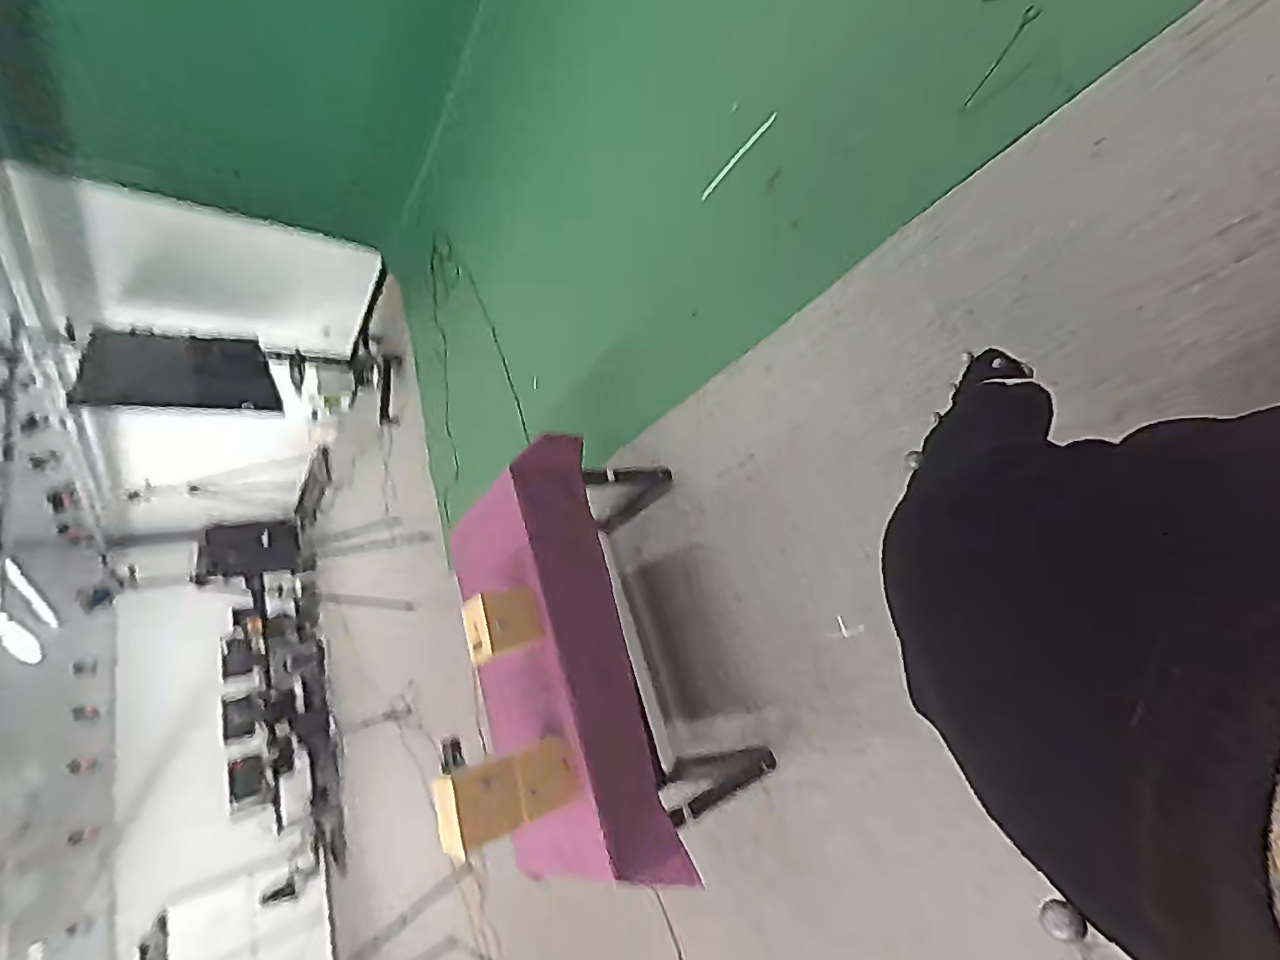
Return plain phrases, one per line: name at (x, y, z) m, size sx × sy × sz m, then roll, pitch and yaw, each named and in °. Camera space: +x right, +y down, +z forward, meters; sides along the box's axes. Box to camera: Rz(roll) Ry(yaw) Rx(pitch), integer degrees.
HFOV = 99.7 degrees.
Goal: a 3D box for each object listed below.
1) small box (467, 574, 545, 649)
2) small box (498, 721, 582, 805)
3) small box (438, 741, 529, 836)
small box at (-0.412, 0.403, 1.668) m, size 0.168 × 0.176 × 0.179 m, roll -35°, pitch 65°, yaw 45°
small box at (-0.289, 0.803, 1.544) m, size 0.179 × 0.176 × 0.168 m, roll -34°, pitch 67°, yaw 46°
small box at (-0.415, 0.808, 1.439) m, size 0.168 × 0.176 × 0.179 m, roll -33°, pitch 68°, yaw 47°
